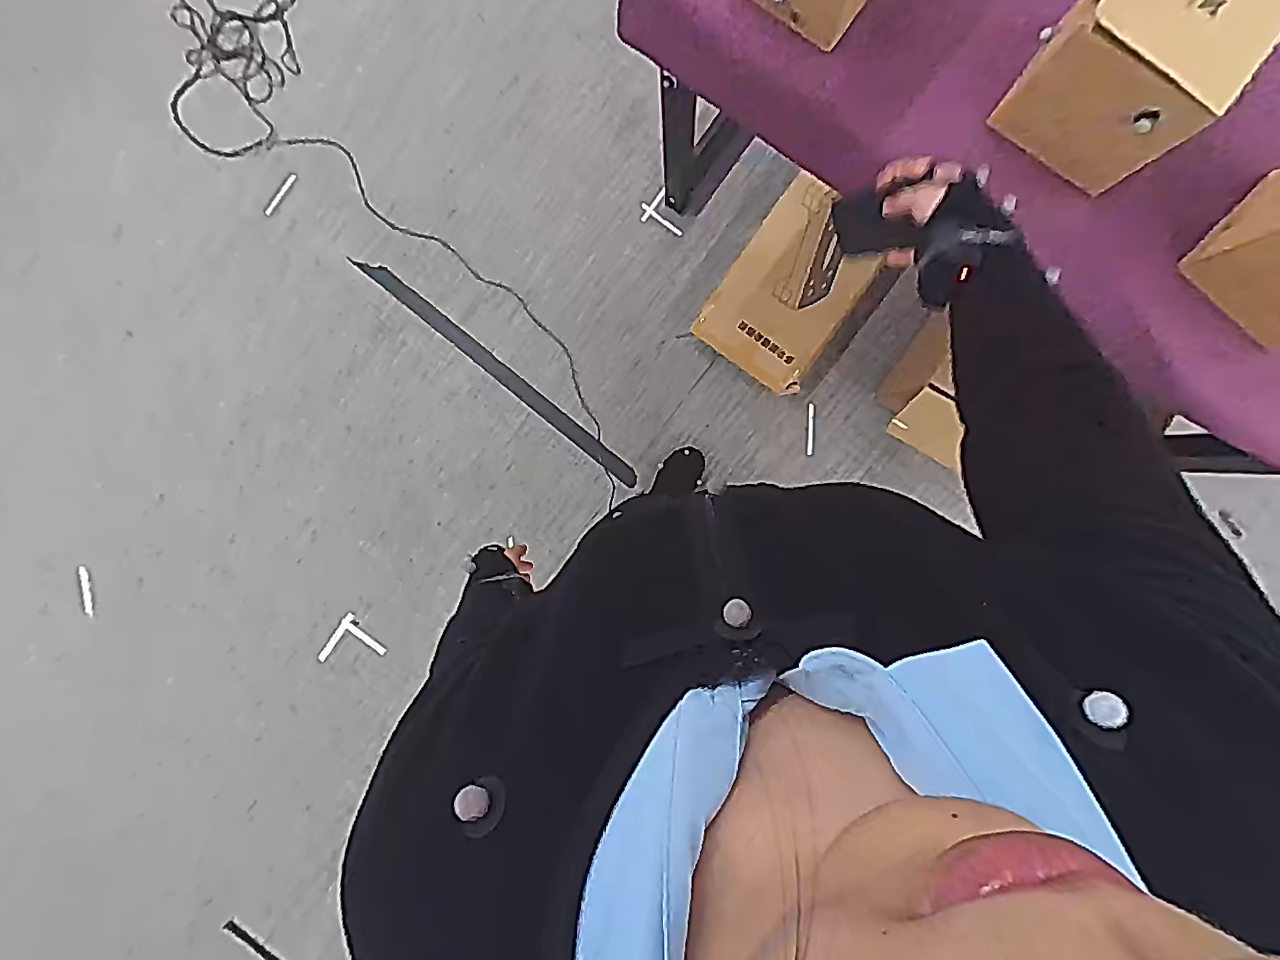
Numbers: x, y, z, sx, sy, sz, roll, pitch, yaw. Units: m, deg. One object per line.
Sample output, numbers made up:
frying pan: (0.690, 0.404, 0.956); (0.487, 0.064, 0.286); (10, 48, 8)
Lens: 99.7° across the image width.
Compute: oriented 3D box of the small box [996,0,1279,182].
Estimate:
small box: (0.575, -0.486, 0.626); (0.179, 0.176, 0.168); (36, 92, 2)

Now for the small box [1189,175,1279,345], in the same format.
small box: (0.817, -0.279, 0.620); (0.179, 0.176, 0.168); (43, 94, 1)
